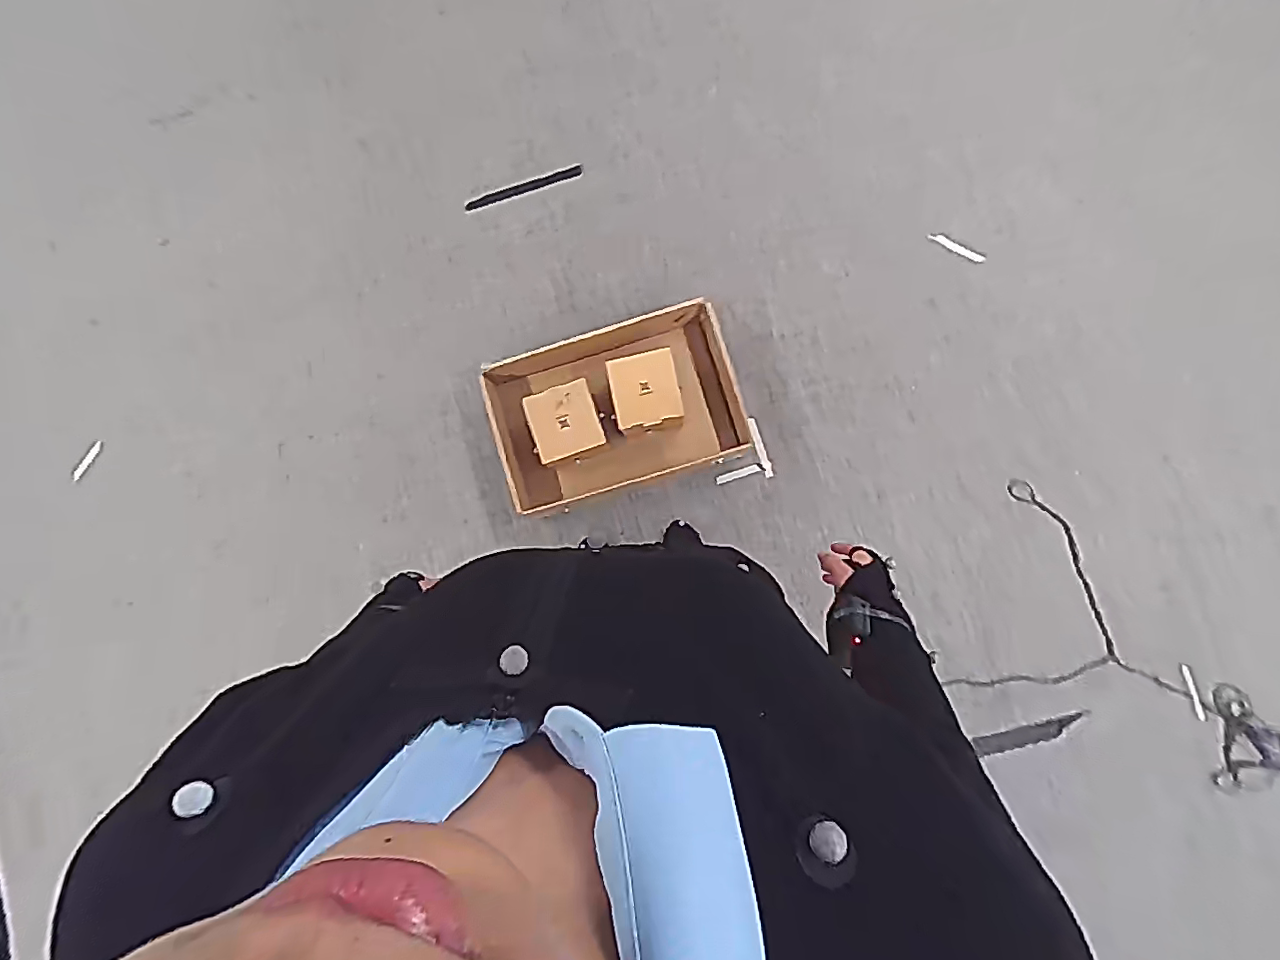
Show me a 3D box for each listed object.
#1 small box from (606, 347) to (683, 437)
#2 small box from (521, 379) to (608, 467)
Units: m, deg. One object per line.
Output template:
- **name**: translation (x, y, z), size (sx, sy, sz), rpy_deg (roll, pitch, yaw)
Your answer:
- **small box**: translation (0.013, -0.222, 1.403), size (0.168, 0.176, 0.179), rpy_deg (-12, 86, 2)
- **small box**: translation (-0.189, -0.139, 1.404), size (0.168, 0.176, 0.179), rpy_deg (-19, 86, 0)
